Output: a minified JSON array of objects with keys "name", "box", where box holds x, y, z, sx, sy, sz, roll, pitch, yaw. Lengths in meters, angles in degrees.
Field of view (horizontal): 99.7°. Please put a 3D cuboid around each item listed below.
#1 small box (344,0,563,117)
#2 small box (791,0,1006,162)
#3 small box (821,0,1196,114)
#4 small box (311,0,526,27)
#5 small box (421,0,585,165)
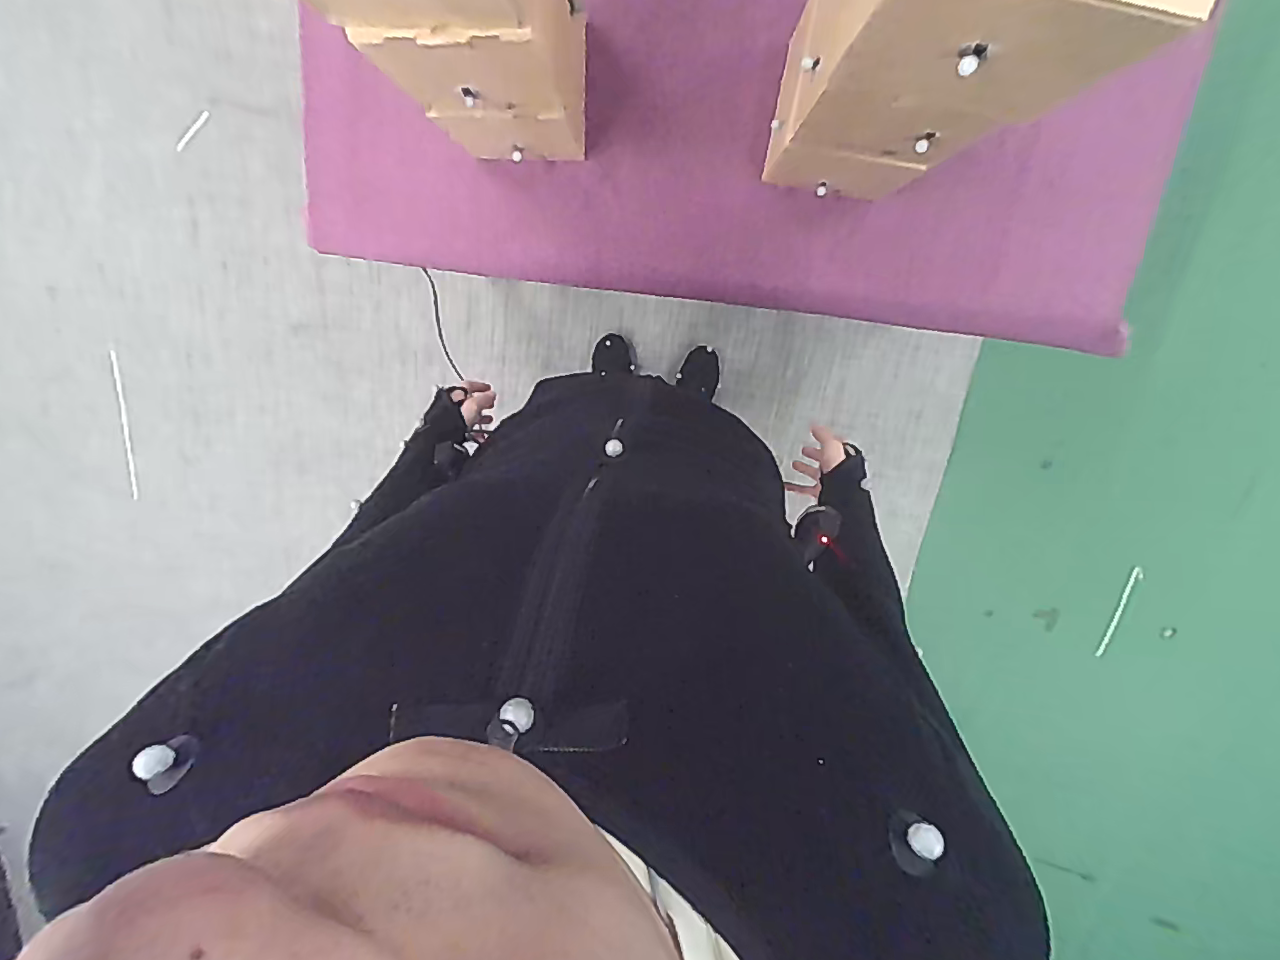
[{"name":"small box","box":[-0.171,-0.483,0.523,0.168,0.176,0.179,1,106,3]},{"name":"small box","box":[0.252,-0.427,0.512,0.168,0.176,0.179,9,106,1]},{"name":"small box","box":[0.244,-0.373,0.357,0.179,0.176,0.168,12,106,1]},{"name":"small box","box":[-0.186,-0.444,0.364,0.179,0.176,0.168,2,106,3]},{"name":"small box","box":[-0.165,-0.522,0.681,0.168,0.176,0.179,3,106,3]}]
